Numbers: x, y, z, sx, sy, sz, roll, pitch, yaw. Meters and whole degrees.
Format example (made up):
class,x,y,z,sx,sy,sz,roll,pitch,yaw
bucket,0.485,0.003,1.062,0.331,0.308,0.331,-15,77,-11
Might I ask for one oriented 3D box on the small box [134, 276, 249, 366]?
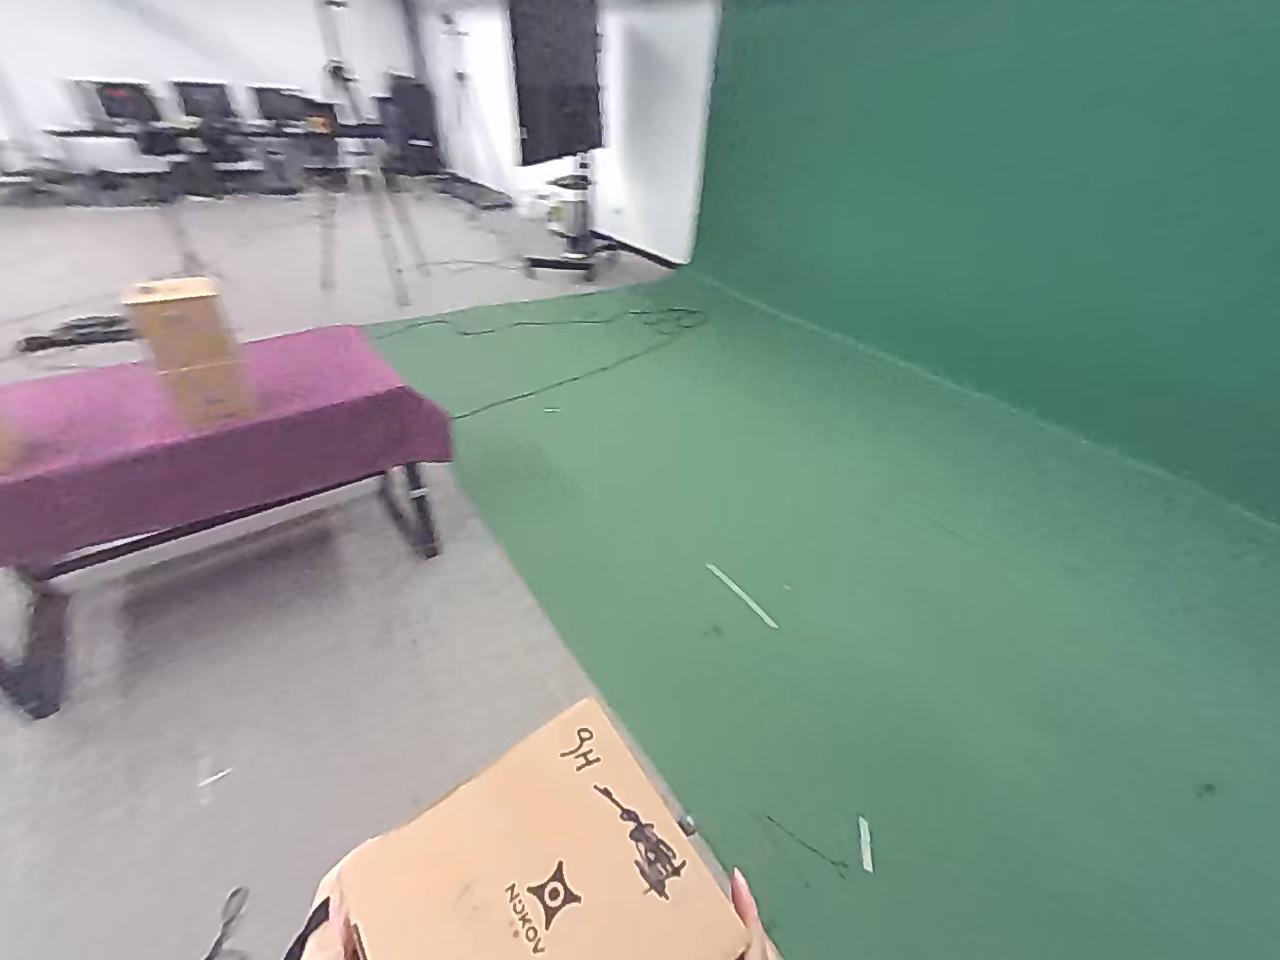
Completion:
class,x,y,z,sx,sy,sz,roll,pitch,yaw
small box,-1.128,-0.401,1.369,0.179,0.176,0.168,-19,42,-29

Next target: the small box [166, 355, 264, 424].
class,x,y,z,sx,sy,sz,roll,pitch,yaw
small box,-1.142,-0.265,1.460,0.168,0.176,0.179,-19,42,-29
